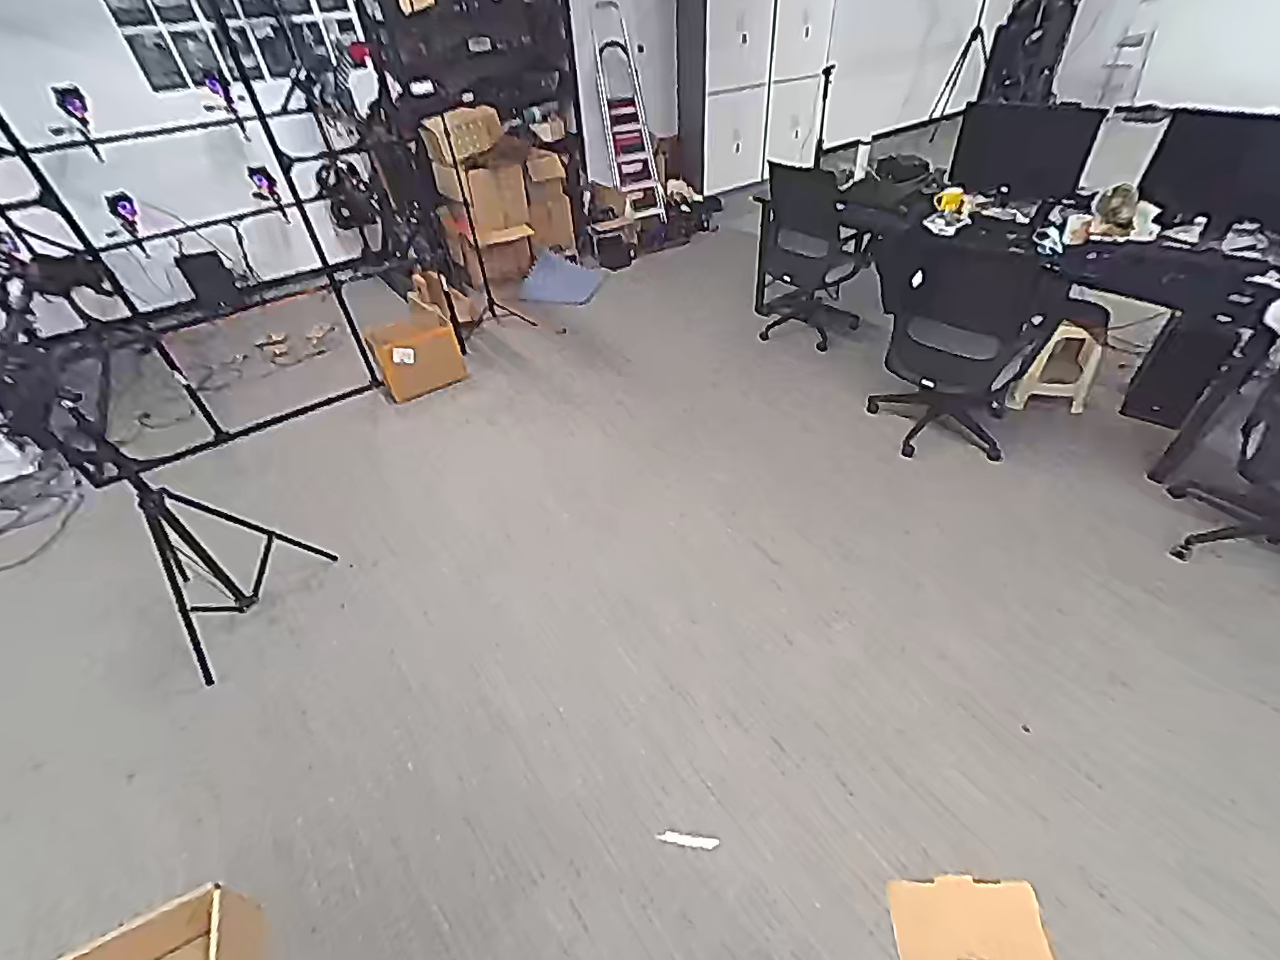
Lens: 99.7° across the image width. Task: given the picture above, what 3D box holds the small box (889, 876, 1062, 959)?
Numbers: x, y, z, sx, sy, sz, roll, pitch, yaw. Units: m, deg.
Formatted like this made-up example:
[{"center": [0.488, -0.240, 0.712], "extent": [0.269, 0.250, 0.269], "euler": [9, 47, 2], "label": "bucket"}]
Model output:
[{"center": [0.420, 0.602, 0.650], "extent": [0.168, 0.176, 0.179], "euler": [-19, 39, 24], "label": "small box"}]
